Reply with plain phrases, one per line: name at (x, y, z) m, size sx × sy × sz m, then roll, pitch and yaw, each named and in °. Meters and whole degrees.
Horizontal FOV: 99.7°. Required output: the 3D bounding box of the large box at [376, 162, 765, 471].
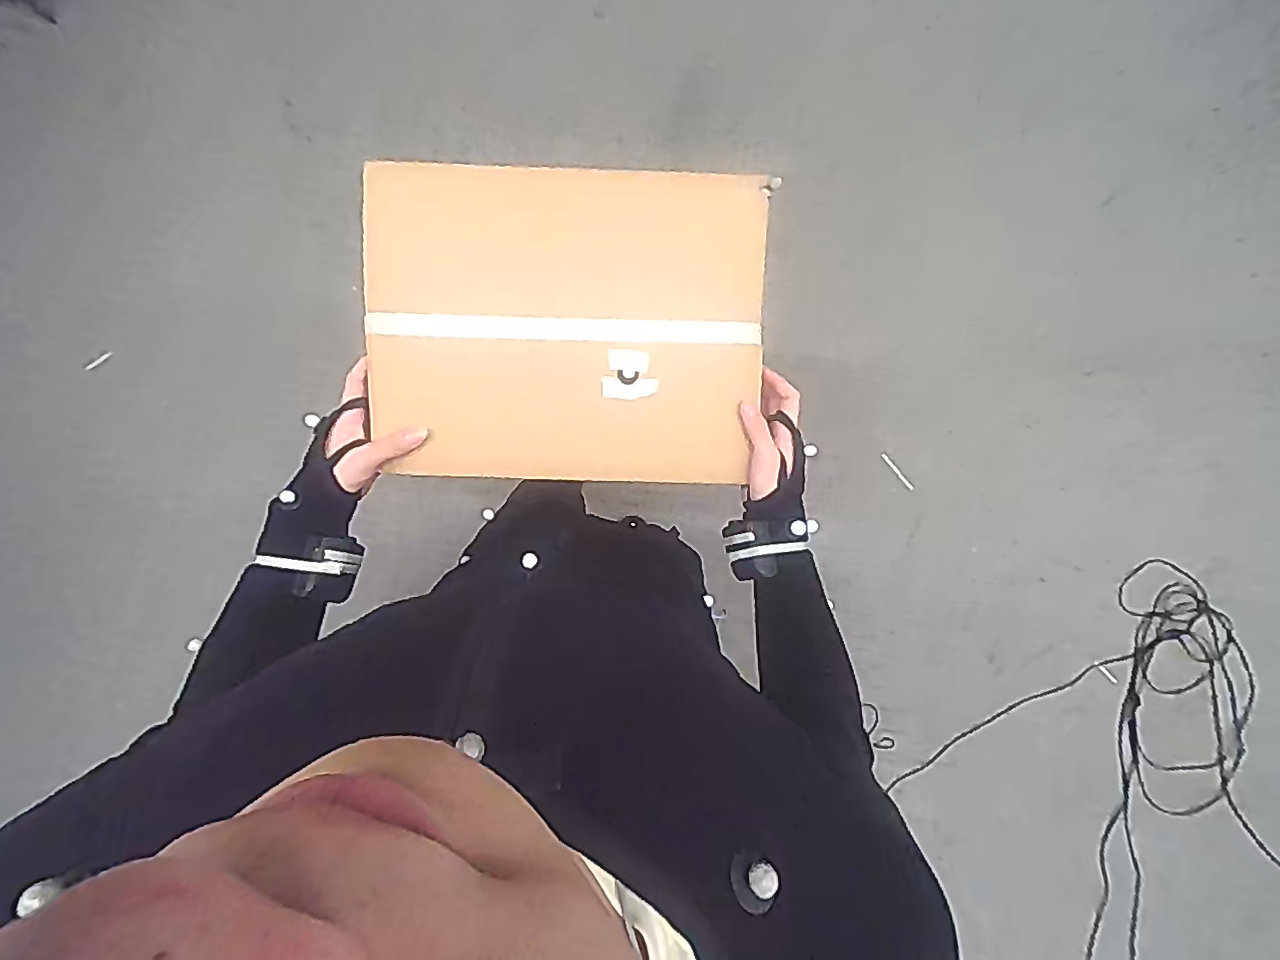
large box at (-0.077, -0.180, 0.713) m, size 0.408 × 0.320 × 0.320 m, roll 2°, pitch 97°, yaw -1°
